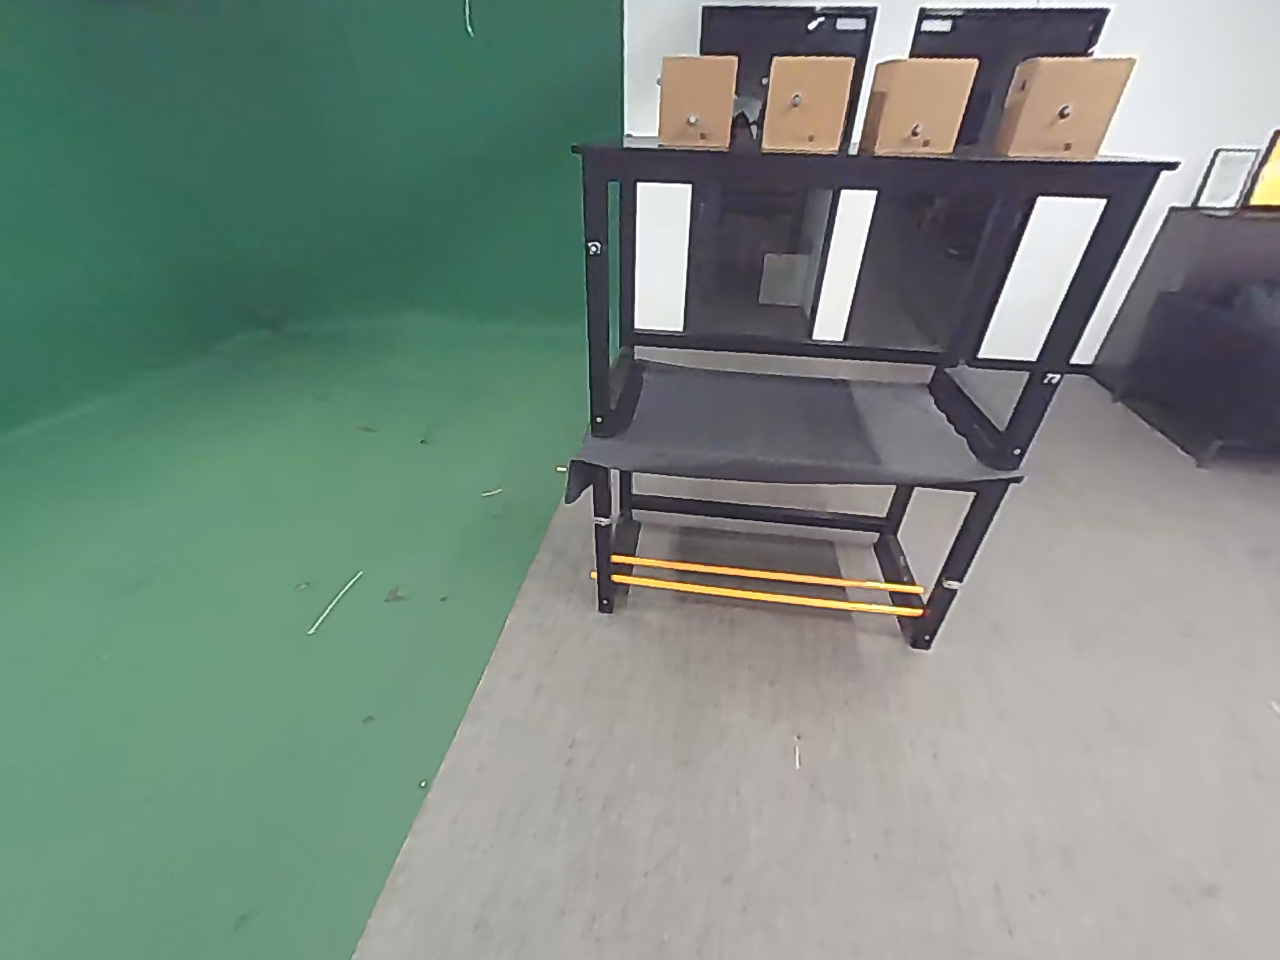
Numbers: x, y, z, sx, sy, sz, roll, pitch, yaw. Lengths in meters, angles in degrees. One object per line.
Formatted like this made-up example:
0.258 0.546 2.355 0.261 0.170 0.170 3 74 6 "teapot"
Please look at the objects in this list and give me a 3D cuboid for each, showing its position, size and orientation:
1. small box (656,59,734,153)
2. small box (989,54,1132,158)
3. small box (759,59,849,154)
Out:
0.125 -0.876 1.271 0.168 0.176 0.179 3 35 3 "small box"
0.870 -0.782 1.141 0.168 0.176 0.179 11 35 14 "small box"
0.365 -0.842 1.228 0.168 0.176 0.179 6 34 8 "small box"
